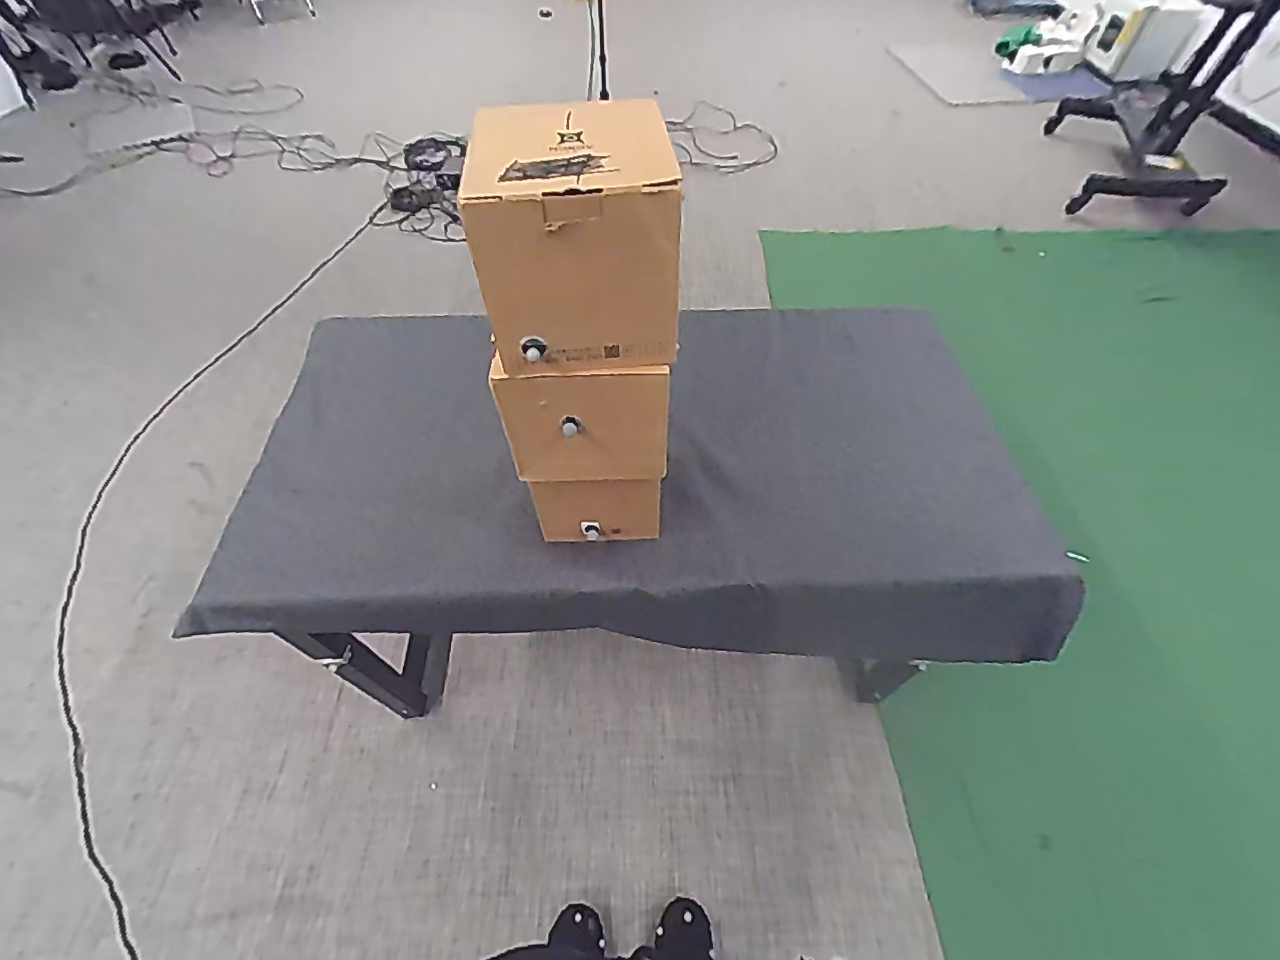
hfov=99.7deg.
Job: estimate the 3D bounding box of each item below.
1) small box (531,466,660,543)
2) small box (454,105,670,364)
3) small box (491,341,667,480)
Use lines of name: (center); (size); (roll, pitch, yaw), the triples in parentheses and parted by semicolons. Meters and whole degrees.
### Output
small box: (-0.060, -0.028, 0.776); (0.168, 0.176, 0.179); (-4, 54, -1)
small box: (-0.062, -0.224, 0.512); (0.168, 0.176, 0.179); (-5, 52, -3)
small box: (-0.063, -0.114, 0.639); (0.179, 0.176, 0.168); (-4, 51, -2)
